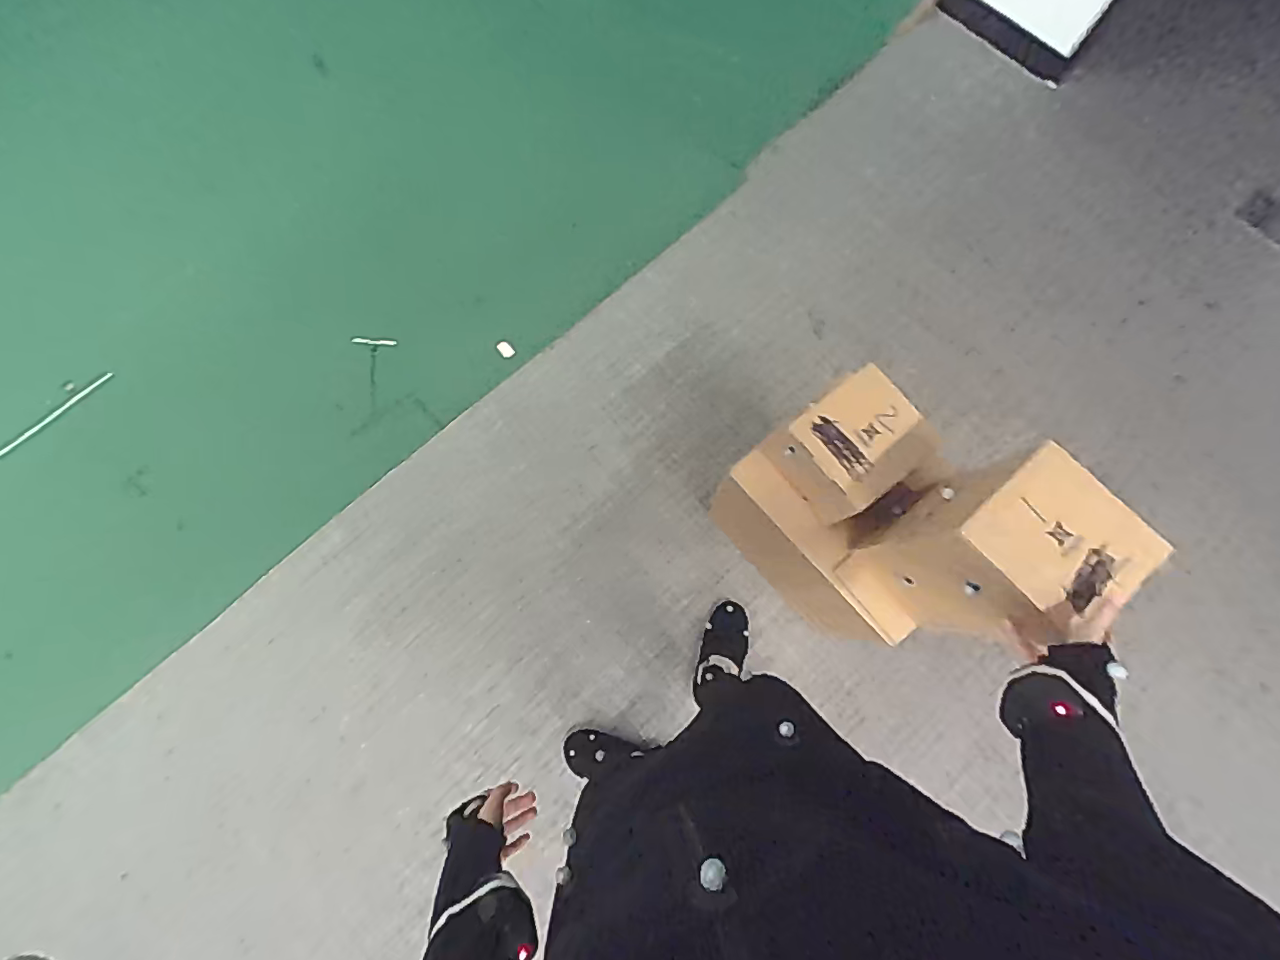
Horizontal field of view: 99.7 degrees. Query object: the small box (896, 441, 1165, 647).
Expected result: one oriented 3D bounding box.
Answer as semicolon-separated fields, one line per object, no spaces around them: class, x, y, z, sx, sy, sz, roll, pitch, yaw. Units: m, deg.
small box;0.472;0.084;0.685;0.168;0.176;0.179;-41;79;-8
